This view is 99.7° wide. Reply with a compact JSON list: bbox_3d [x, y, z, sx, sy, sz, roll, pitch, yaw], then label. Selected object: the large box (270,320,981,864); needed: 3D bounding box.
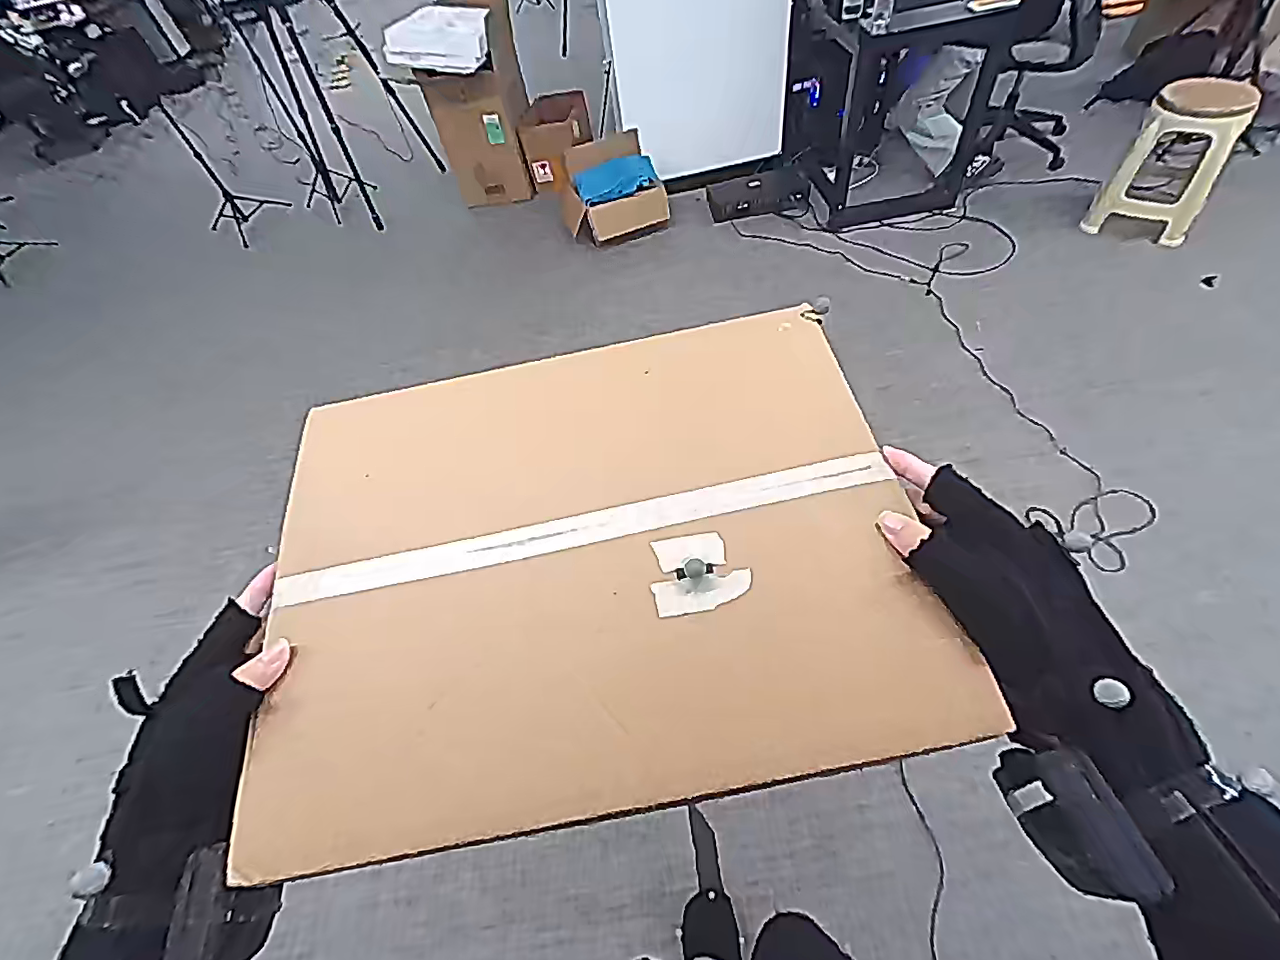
[{"bbox_3d":[-0.019,0.111,0.494,0.408,0.320,0.320,-12,60,0],"label":"large box"}]
